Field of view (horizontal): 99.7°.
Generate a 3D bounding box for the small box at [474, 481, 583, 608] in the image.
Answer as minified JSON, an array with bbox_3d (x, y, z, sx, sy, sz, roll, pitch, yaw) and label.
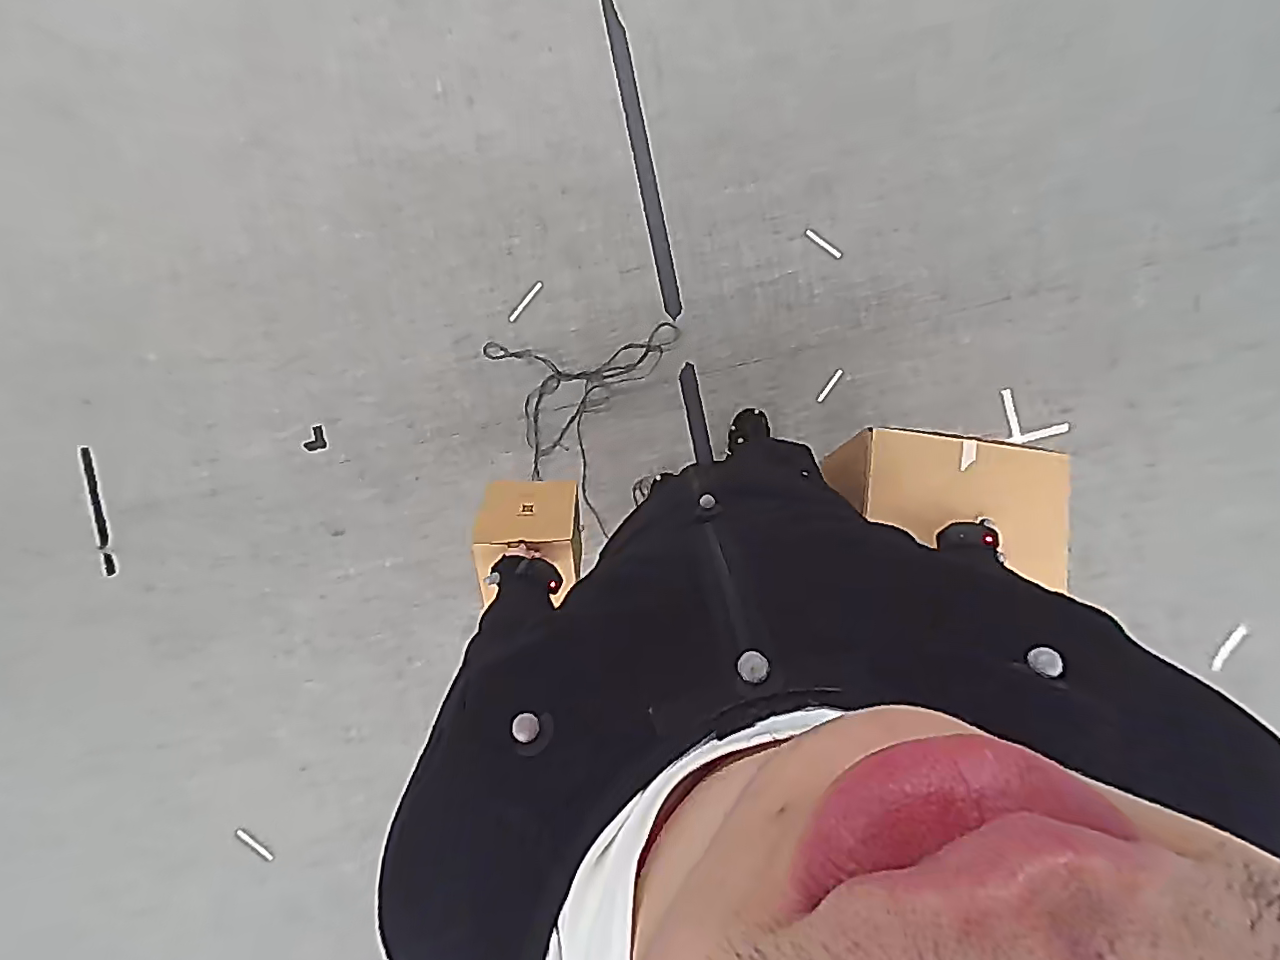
[{"bbox_3d":[-0.194,0.121,0.994,0.168,0.179,0.176,-2,124,-3],"label":"small box"}]
